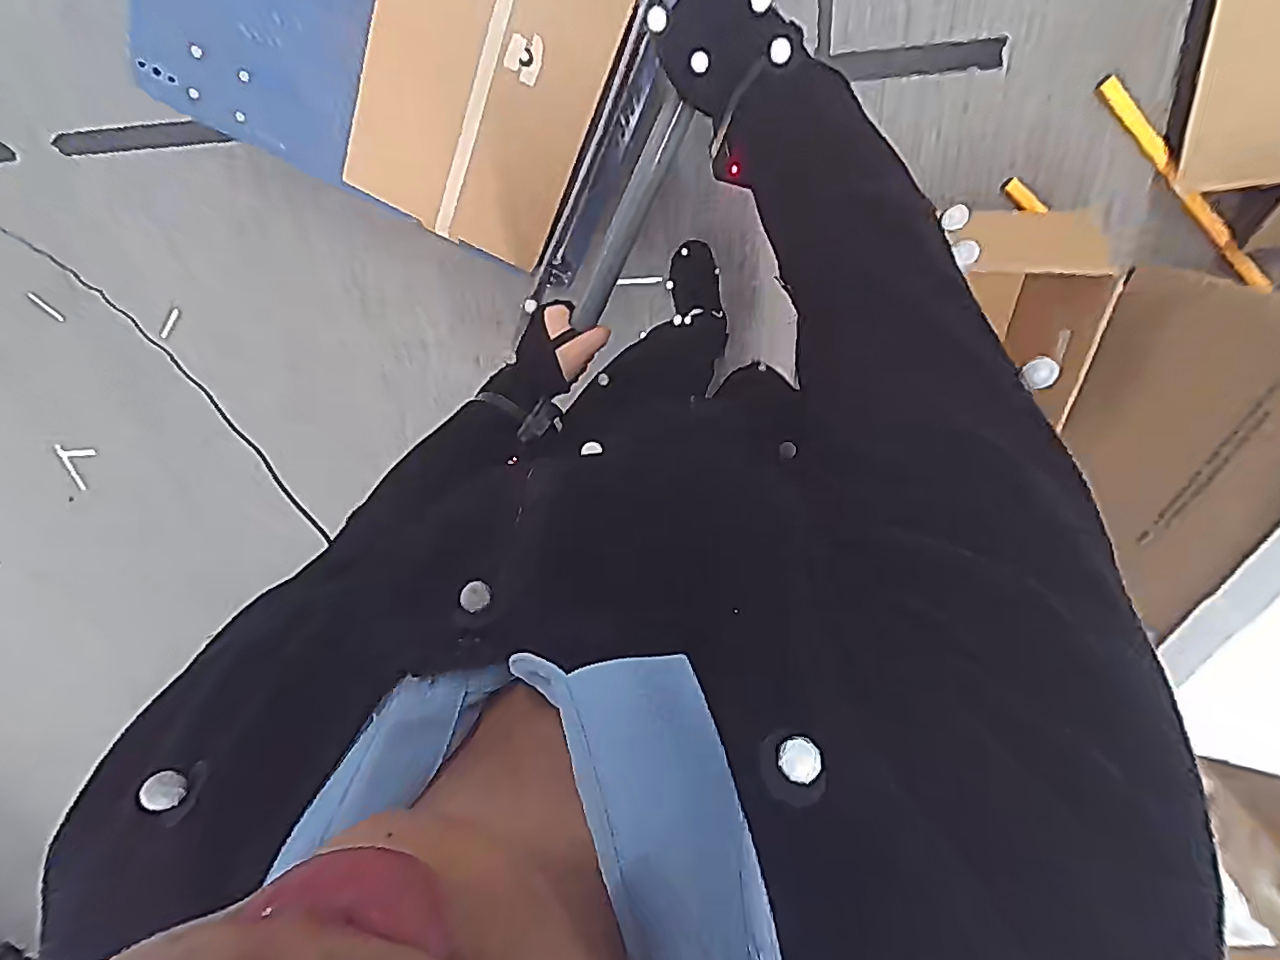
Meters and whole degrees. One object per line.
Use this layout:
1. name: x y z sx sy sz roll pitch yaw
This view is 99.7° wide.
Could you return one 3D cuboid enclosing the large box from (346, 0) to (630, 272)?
1. large box: -0.234 -0.625 0.901 0.320 0.320 0.408 22 118 -15
